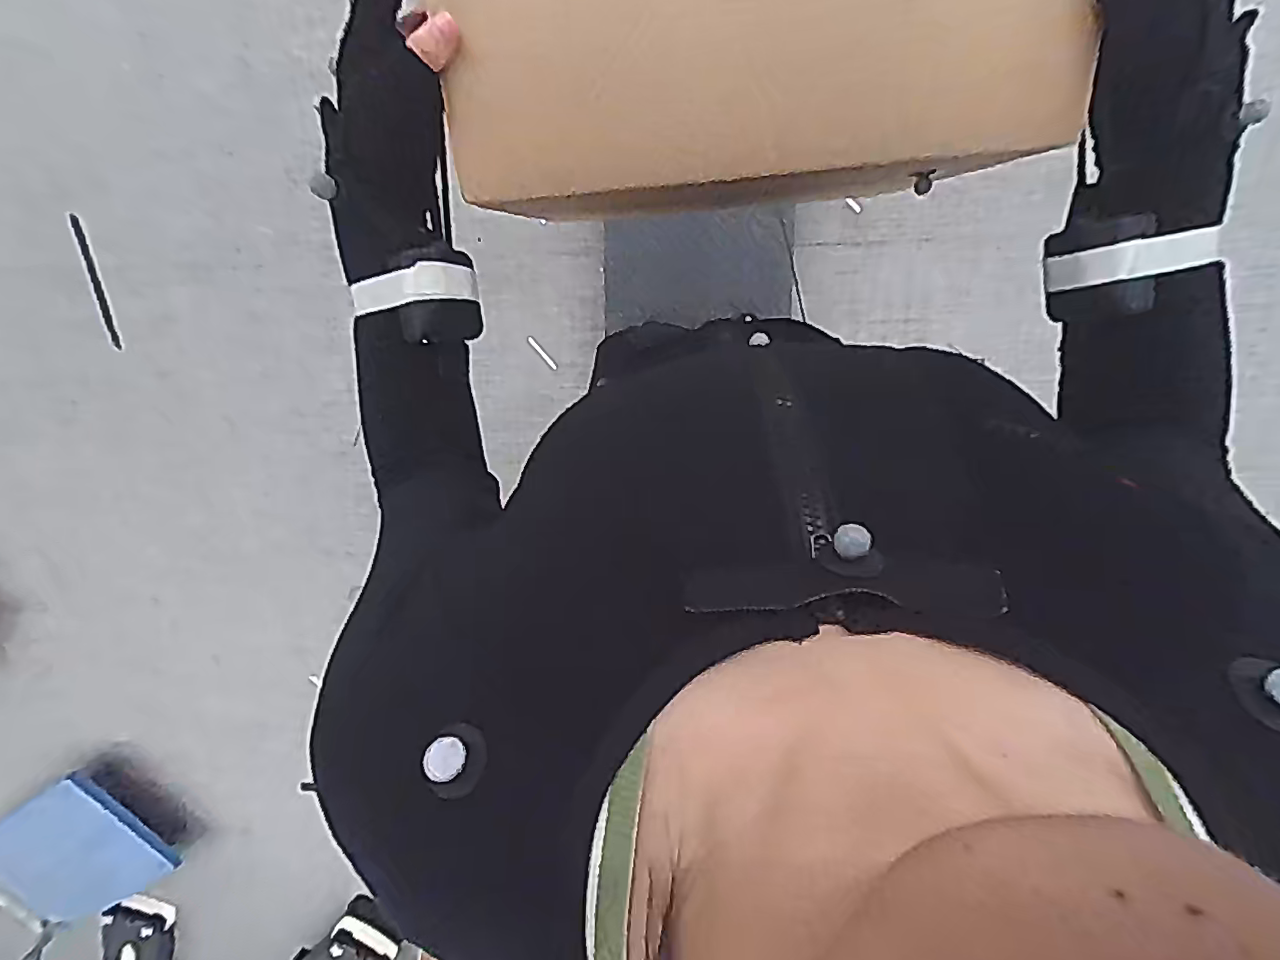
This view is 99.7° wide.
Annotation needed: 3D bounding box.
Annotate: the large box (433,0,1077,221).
[{"bbox_3d":[0.070,-0.406,0.449,0.408,0.320,0.320,-3,113,4],"label":"large box"}]
